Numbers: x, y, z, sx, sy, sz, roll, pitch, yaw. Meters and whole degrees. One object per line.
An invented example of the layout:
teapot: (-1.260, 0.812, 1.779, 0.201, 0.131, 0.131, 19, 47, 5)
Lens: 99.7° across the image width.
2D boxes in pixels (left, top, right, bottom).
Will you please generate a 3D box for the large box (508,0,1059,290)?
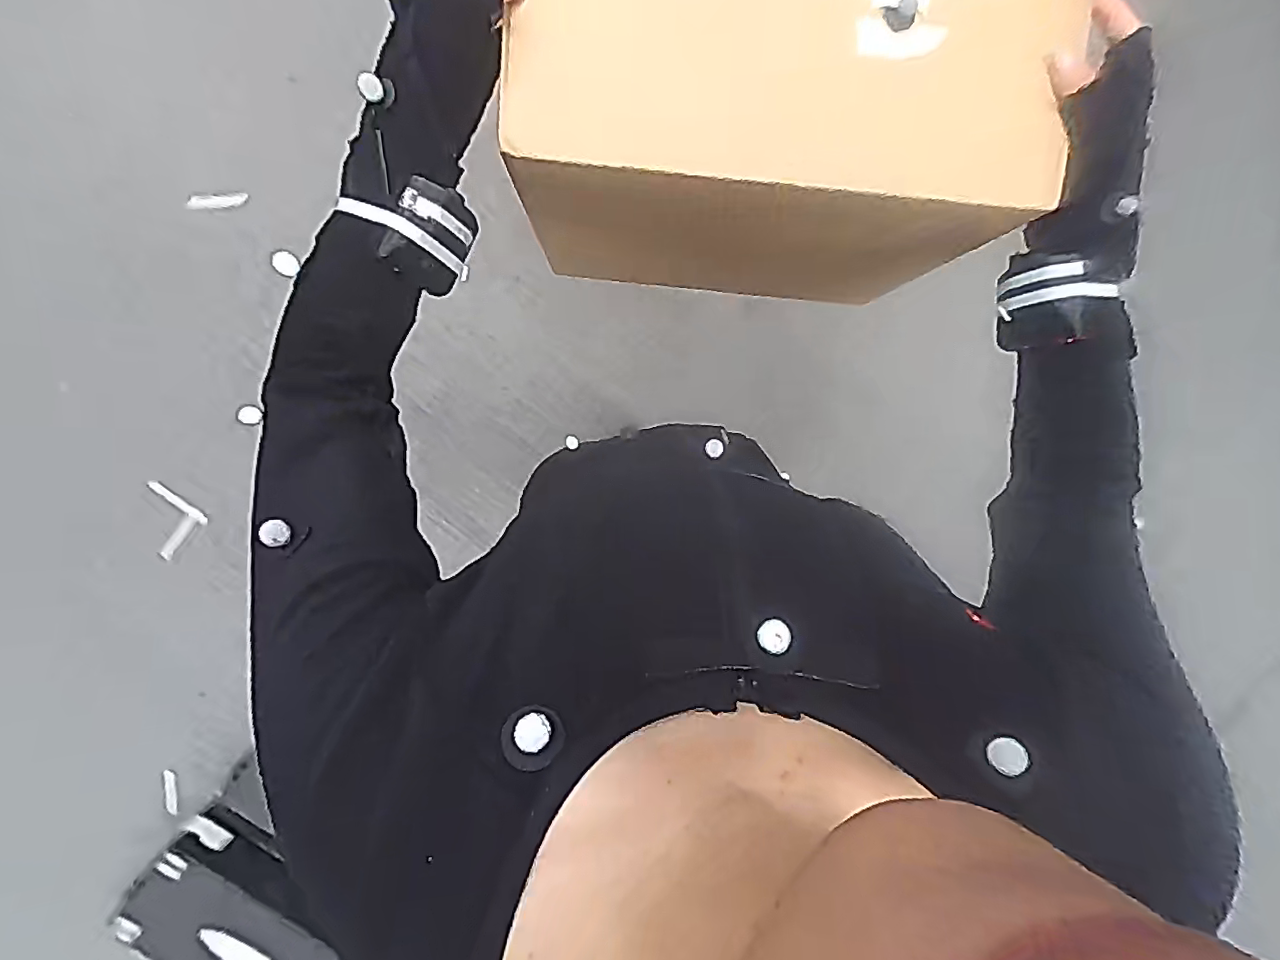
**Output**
large box: (0.100, -0.391, 0.532, 0.408, 0.320, 0.320, 3, 96, -4)
